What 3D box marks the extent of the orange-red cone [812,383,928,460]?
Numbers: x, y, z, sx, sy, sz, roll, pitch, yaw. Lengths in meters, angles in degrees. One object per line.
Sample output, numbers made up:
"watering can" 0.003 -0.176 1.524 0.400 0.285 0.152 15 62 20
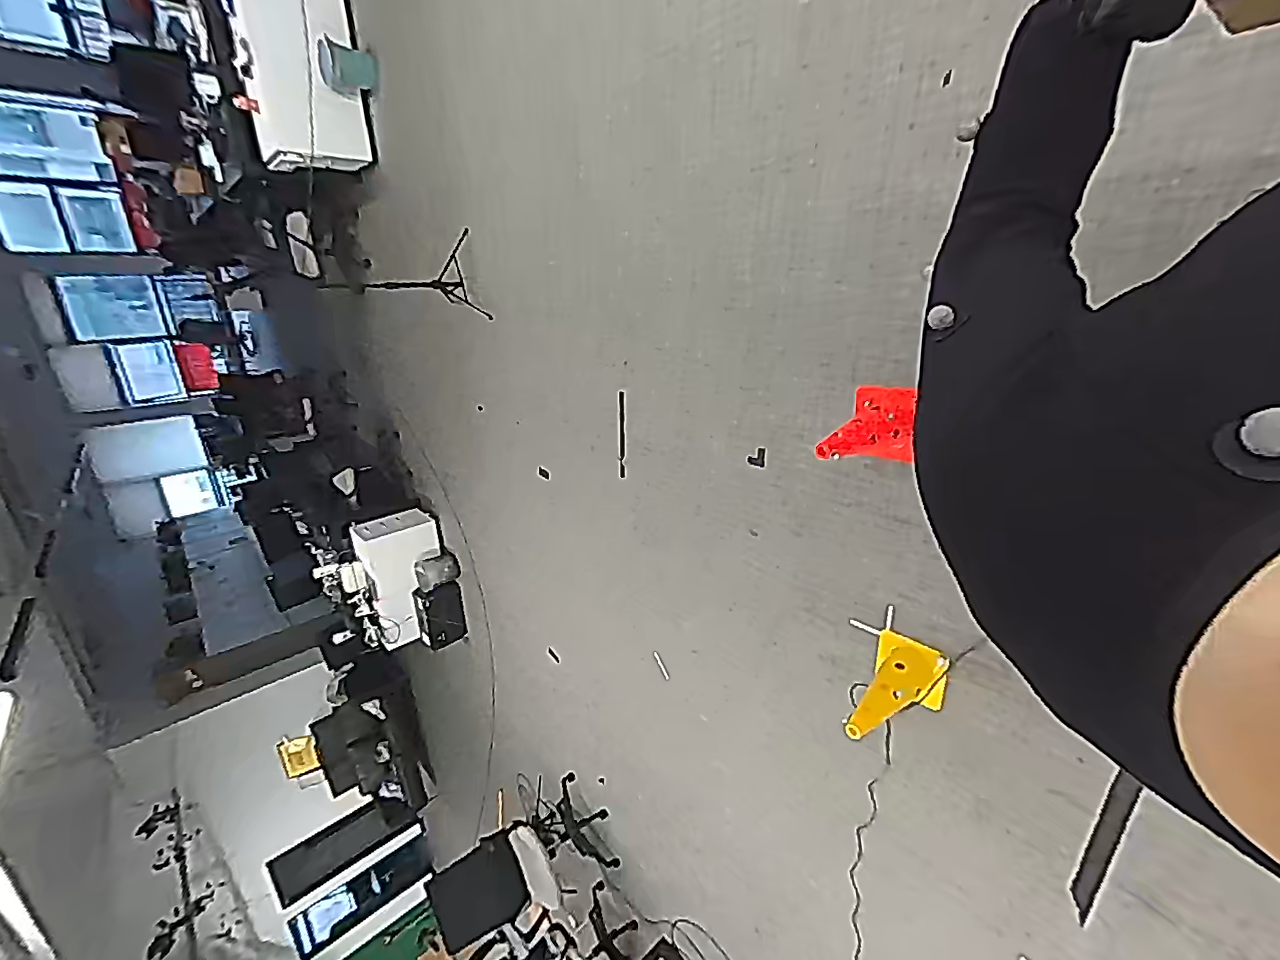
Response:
"orange-red cone" 0.557 -0.115 1.385 0.198 0.360 0.199 18 119 46
